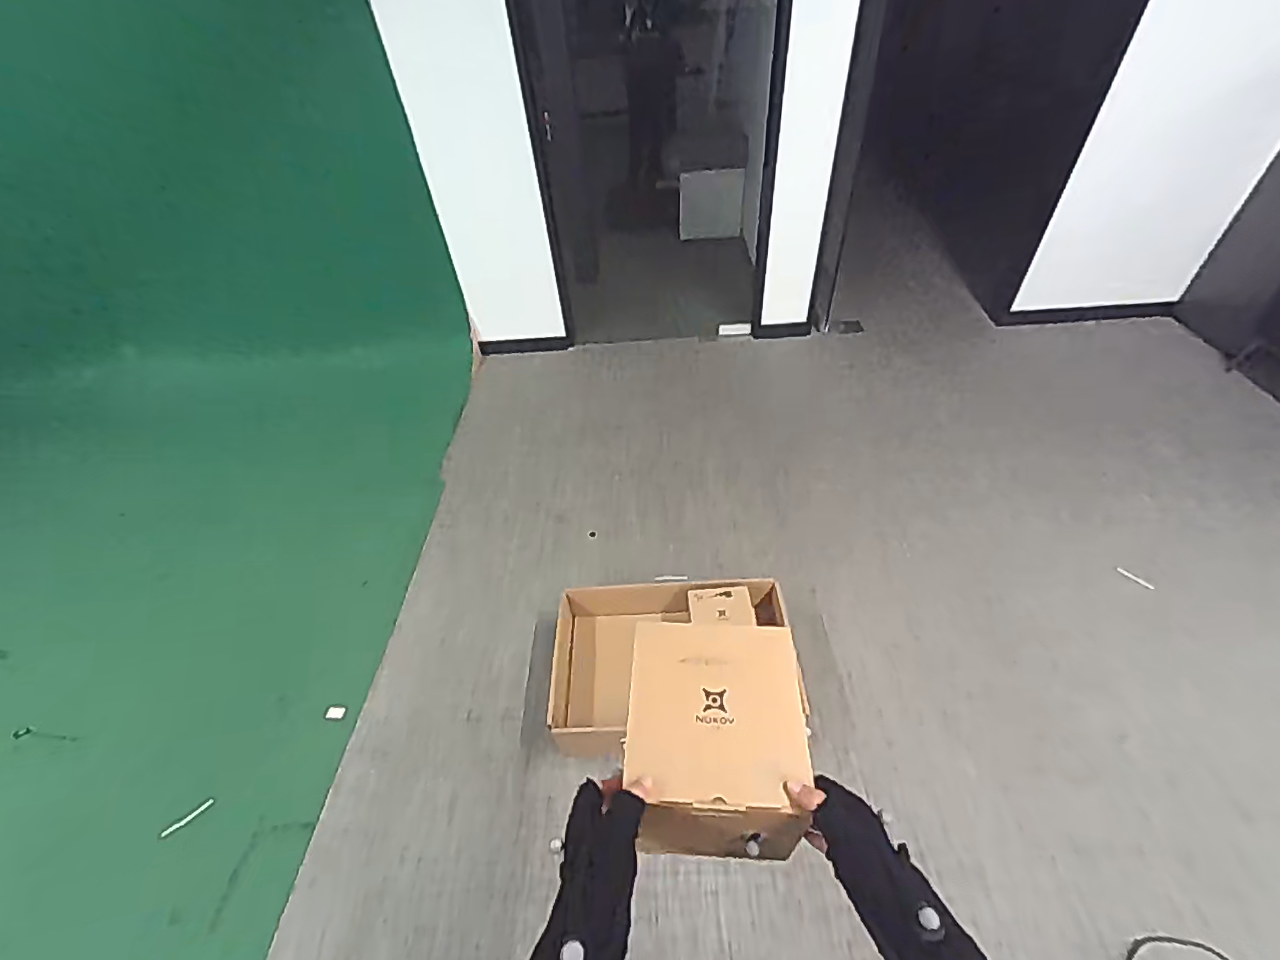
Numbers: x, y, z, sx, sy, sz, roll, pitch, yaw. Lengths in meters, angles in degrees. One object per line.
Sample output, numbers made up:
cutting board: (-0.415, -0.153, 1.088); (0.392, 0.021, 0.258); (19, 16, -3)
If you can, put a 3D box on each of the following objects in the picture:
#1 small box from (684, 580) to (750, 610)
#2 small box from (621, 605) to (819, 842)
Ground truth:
small box: (0.214, 0.399, 1.471); (0.168, 0.176, 0.179); (-8, 45, 0)
small box: (0.075, 0.252, 0.557); (0.168, 0.176, 0.179); (2, 43, 4)
